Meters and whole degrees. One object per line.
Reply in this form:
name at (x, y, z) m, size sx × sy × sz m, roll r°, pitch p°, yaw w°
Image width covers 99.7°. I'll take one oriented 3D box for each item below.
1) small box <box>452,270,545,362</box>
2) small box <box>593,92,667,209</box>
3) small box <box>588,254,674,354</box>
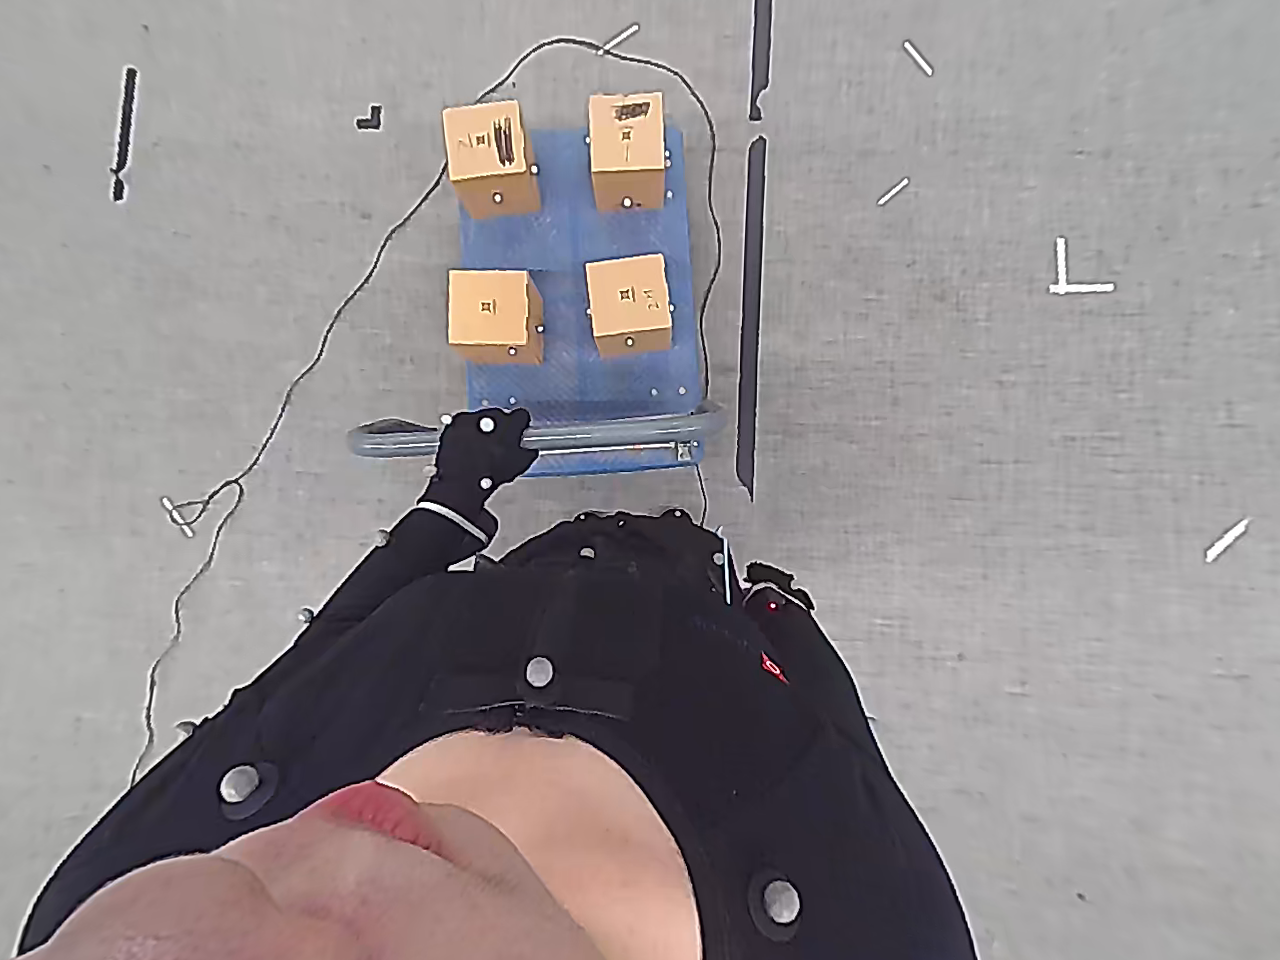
small box at (-0.326, -0.376, 1.265) m, size 0.179 × 0.176 × 0.168 m, roll 0°, pitch 88°, yaw 0°
small box at (-0.022, -0.766, 1.271) m, size 0.168 × 0.176 × 0.179 m, roll -2°, pitch 89°, yaw 1°
small box at (-0.017, -0.400, 1.259) m, size 0.179 × 0.176 × 0.168 m, roll -7°, pitch 88°, yaw 1°
